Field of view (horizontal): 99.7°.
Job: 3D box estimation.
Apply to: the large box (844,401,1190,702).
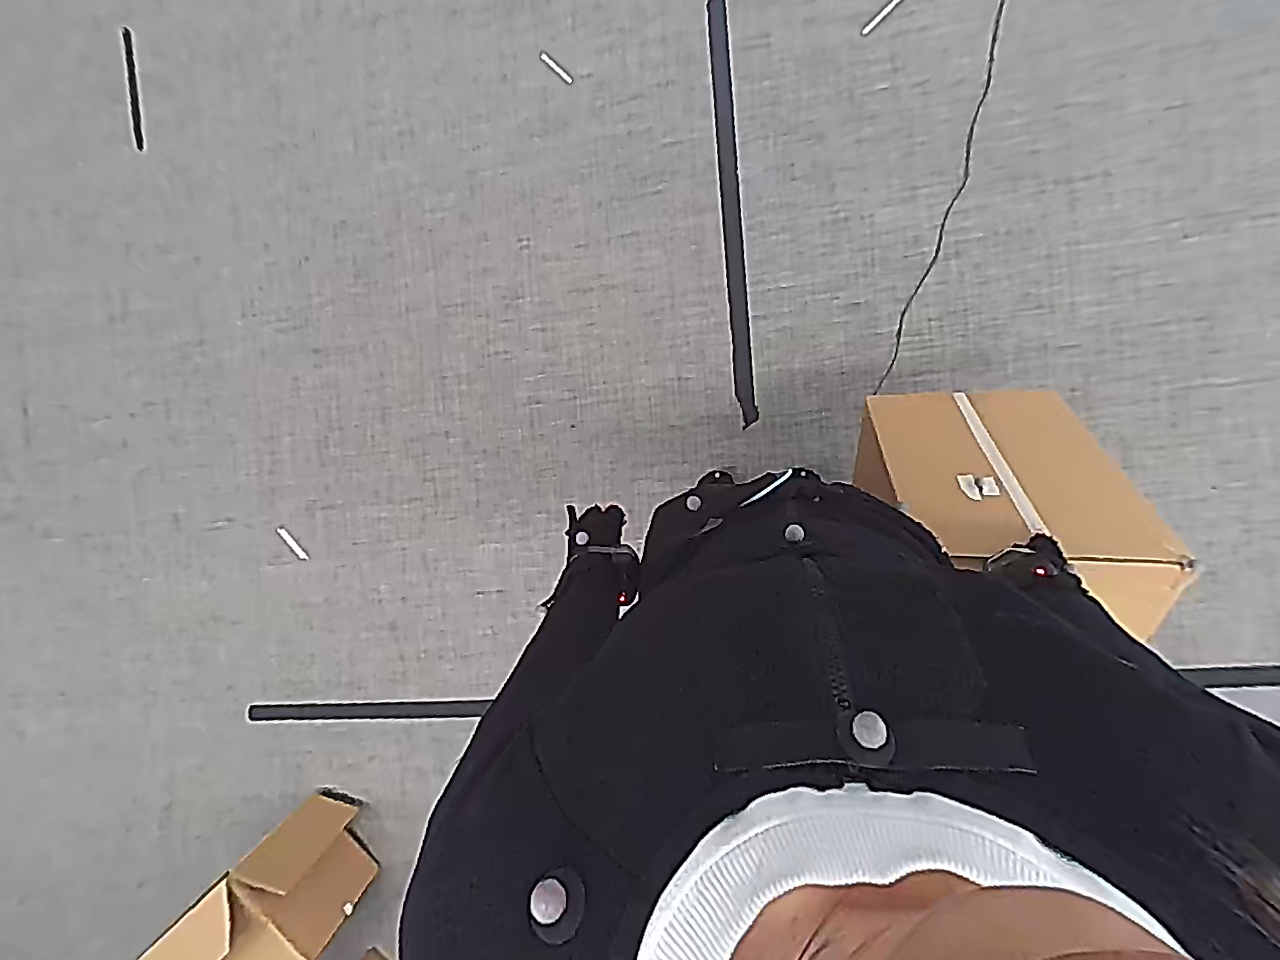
[{"bbox_3d":[0.551,0.101,0.914,0.320,0.408,0.320,0,129,11],"label":"large box"}]
